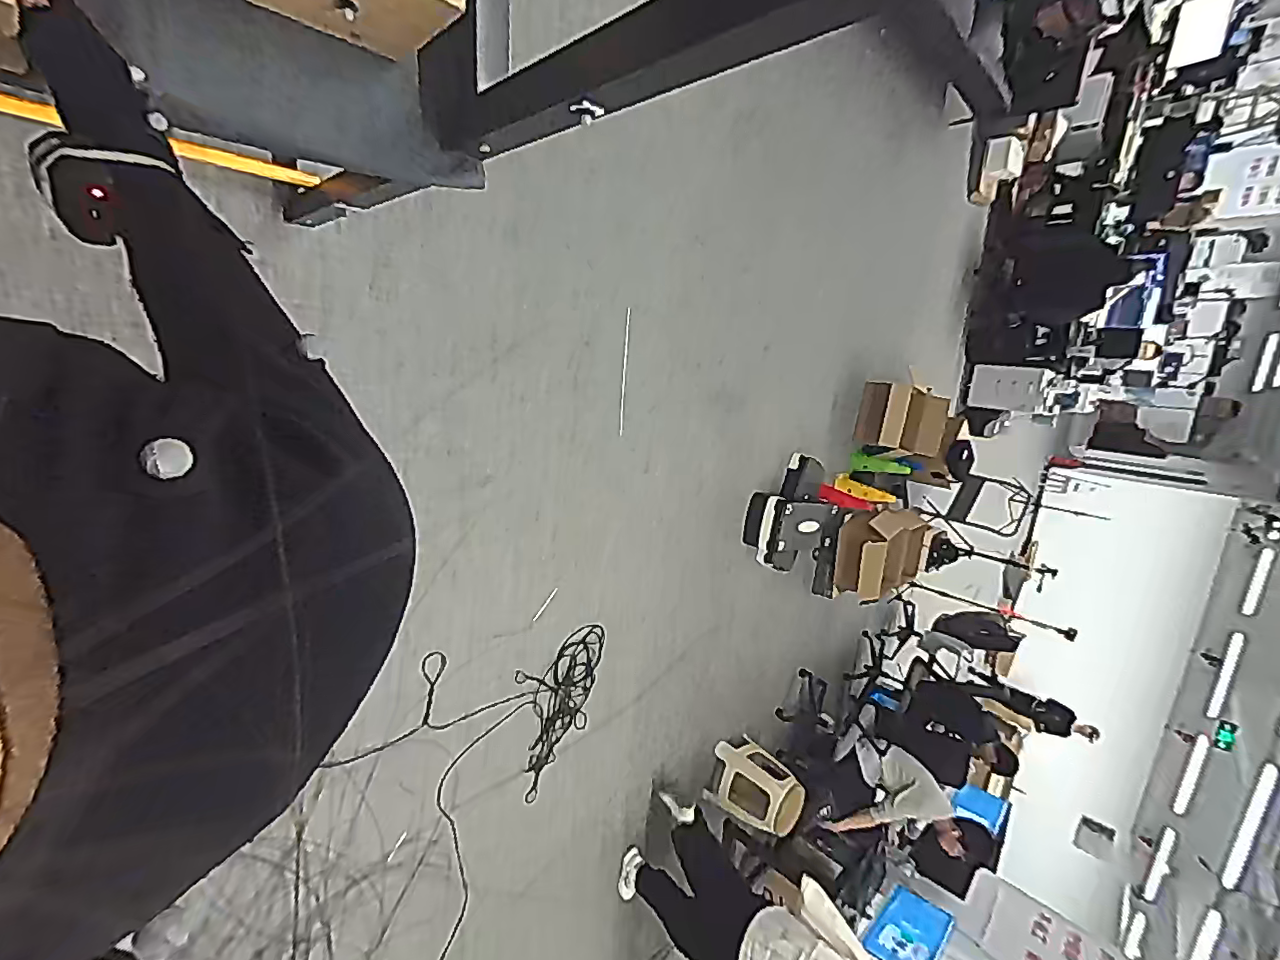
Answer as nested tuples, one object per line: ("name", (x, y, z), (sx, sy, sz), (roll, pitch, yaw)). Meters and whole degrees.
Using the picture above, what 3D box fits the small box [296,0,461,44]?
("small box", (-0.290, -0.585, 0.539), (0.168, 0.176, 0.179), (-10, 110, -45))
